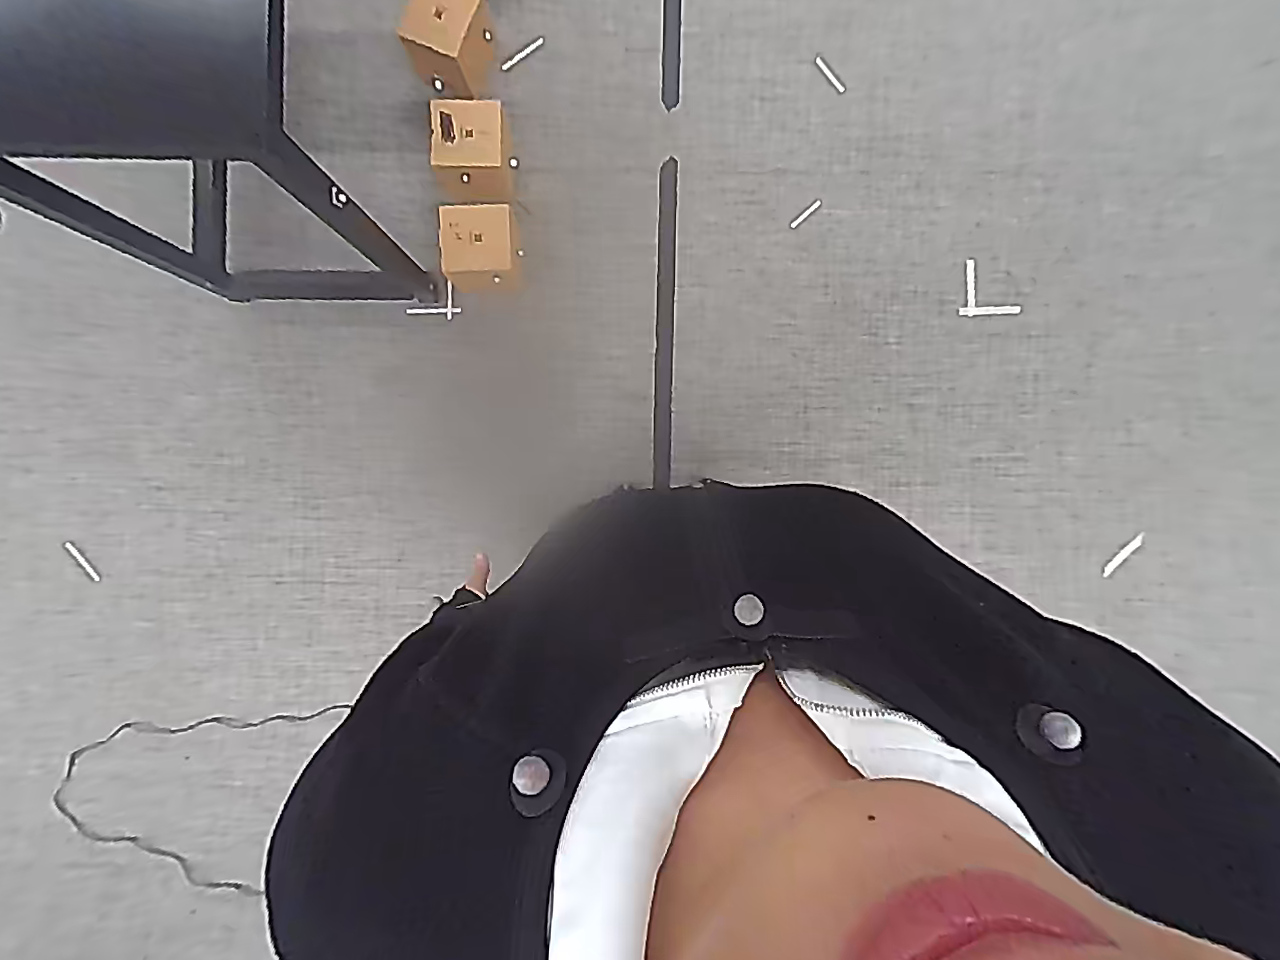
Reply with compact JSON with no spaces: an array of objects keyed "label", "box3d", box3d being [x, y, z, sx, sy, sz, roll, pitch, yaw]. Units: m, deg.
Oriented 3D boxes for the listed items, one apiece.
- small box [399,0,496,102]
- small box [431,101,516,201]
[{"label":"small box","box3d":[-0.496,-1.154,1.424,0.168,0.176,0.179,21,91,0]},{"label":"small box","box3d":[-0.433,-0.859,1.425,0.179,0.176,0.168,0,91,-2]}]
